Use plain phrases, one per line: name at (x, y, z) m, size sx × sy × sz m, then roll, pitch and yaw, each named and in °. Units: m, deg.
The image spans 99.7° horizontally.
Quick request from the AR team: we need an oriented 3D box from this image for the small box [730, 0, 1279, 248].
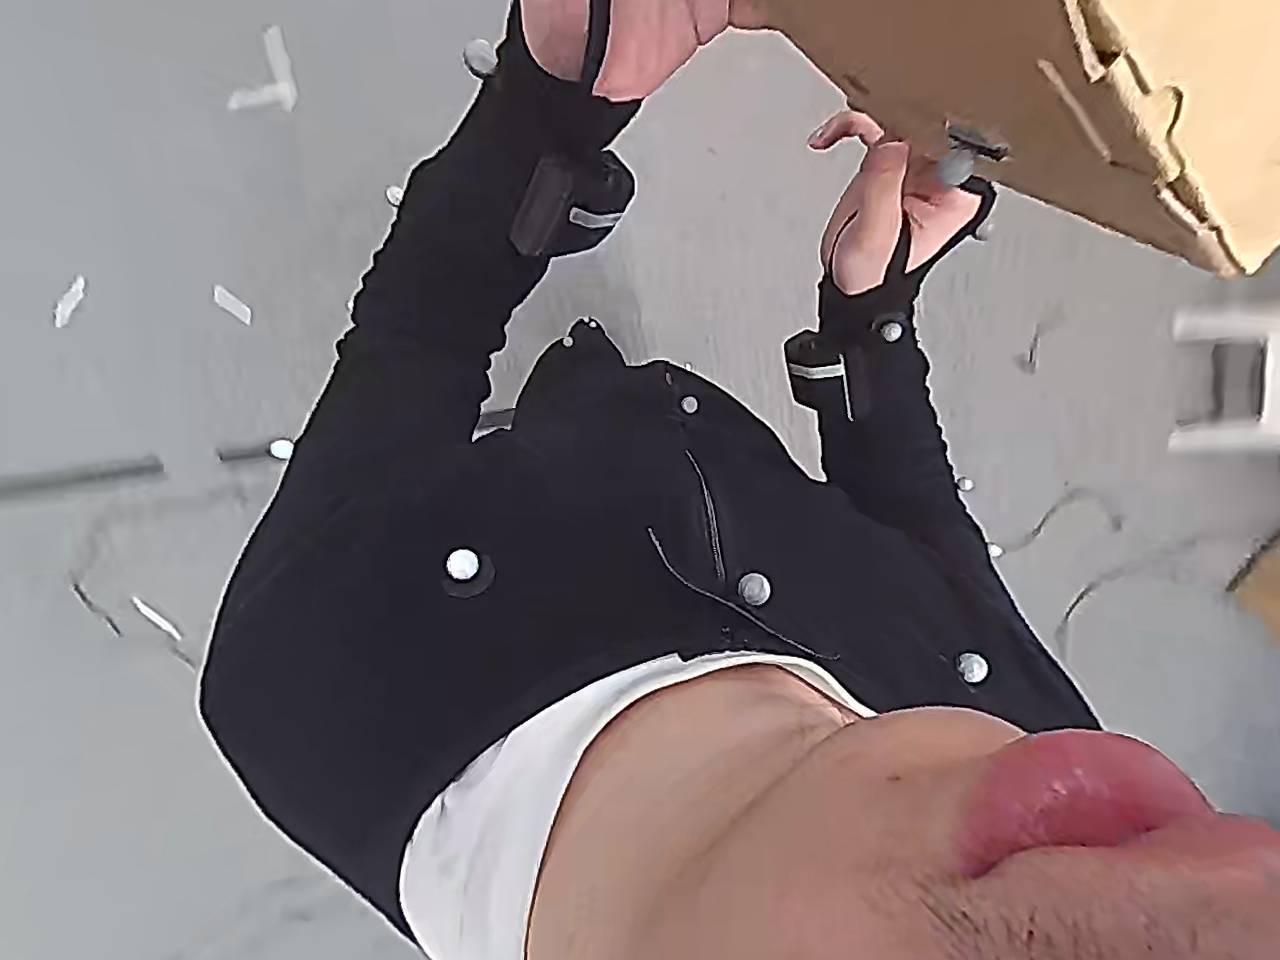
small box at (0.116, -0.202, 0.141) m, size 0.168 × 0.176 × 0.179 m, roll 12°, pitch 125°, yaw -33°
